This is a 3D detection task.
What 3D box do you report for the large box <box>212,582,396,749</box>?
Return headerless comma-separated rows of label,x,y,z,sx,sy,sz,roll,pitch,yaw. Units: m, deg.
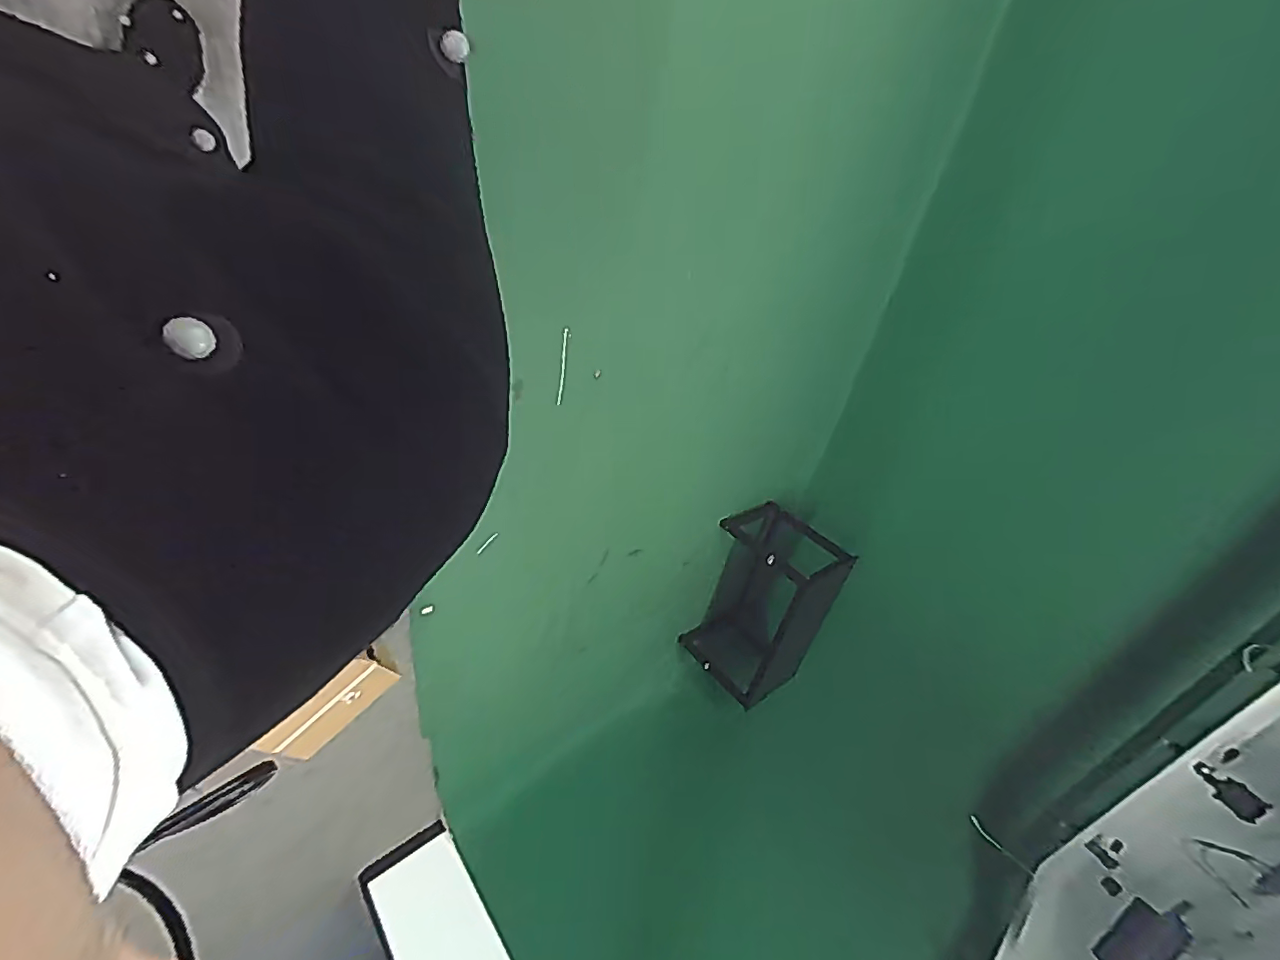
large box,-1.158,0.641,1.878,0.408,0.320,0.320,-43,145,-13
